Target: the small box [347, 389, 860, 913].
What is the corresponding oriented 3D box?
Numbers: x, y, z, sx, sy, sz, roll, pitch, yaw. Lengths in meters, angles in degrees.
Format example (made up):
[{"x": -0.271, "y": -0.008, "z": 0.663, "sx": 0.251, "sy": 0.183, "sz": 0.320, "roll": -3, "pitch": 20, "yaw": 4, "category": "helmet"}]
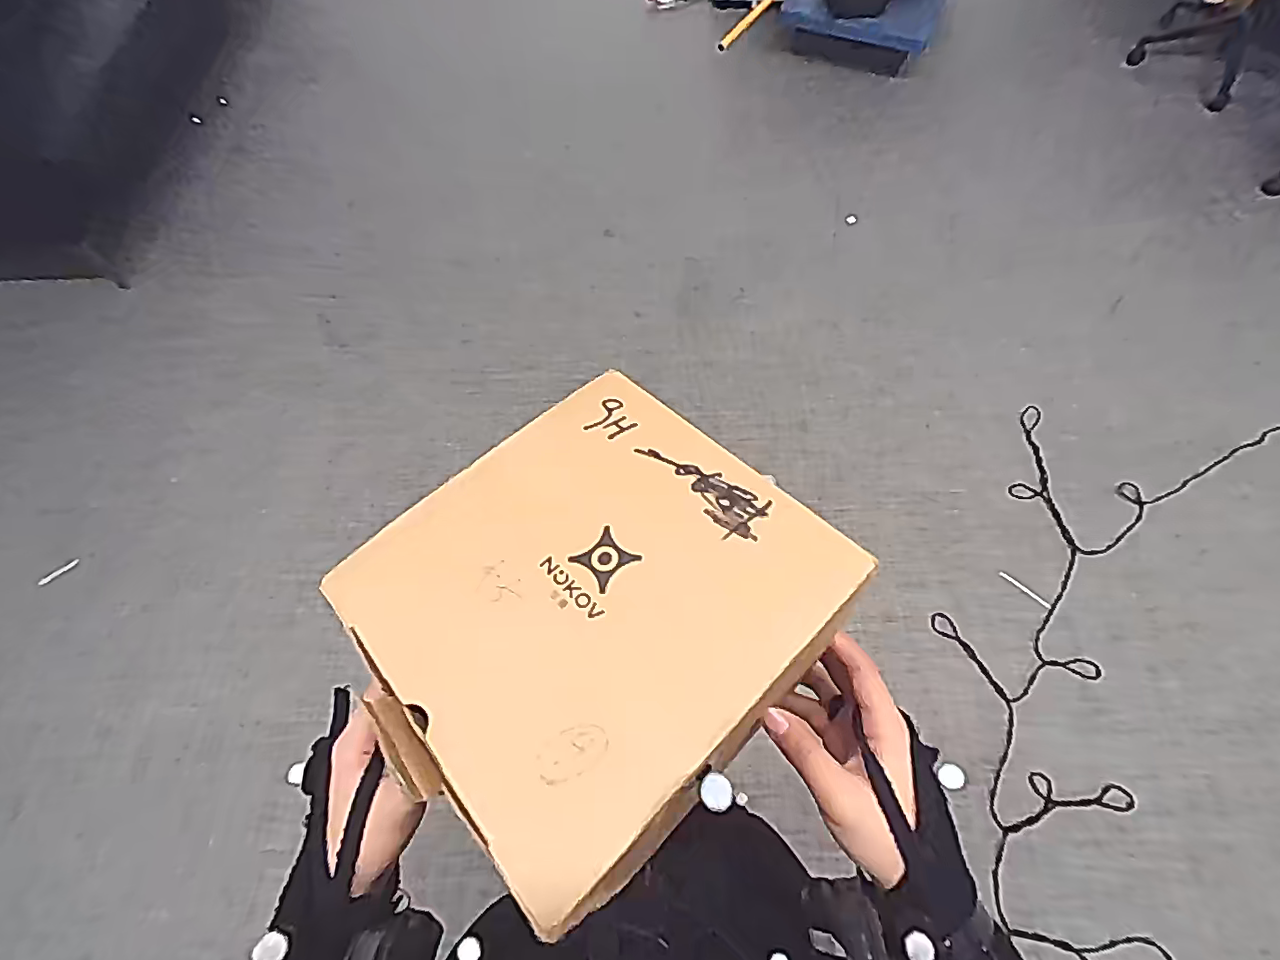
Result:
[{"x": -0.012, "y": 0.090, "z": 0.305, "sx": 0.179, "sy": 0.176, "sz": 0.168, "roll": -40, "pitch": 61, "yaw": -19, "category": "small box"}]
